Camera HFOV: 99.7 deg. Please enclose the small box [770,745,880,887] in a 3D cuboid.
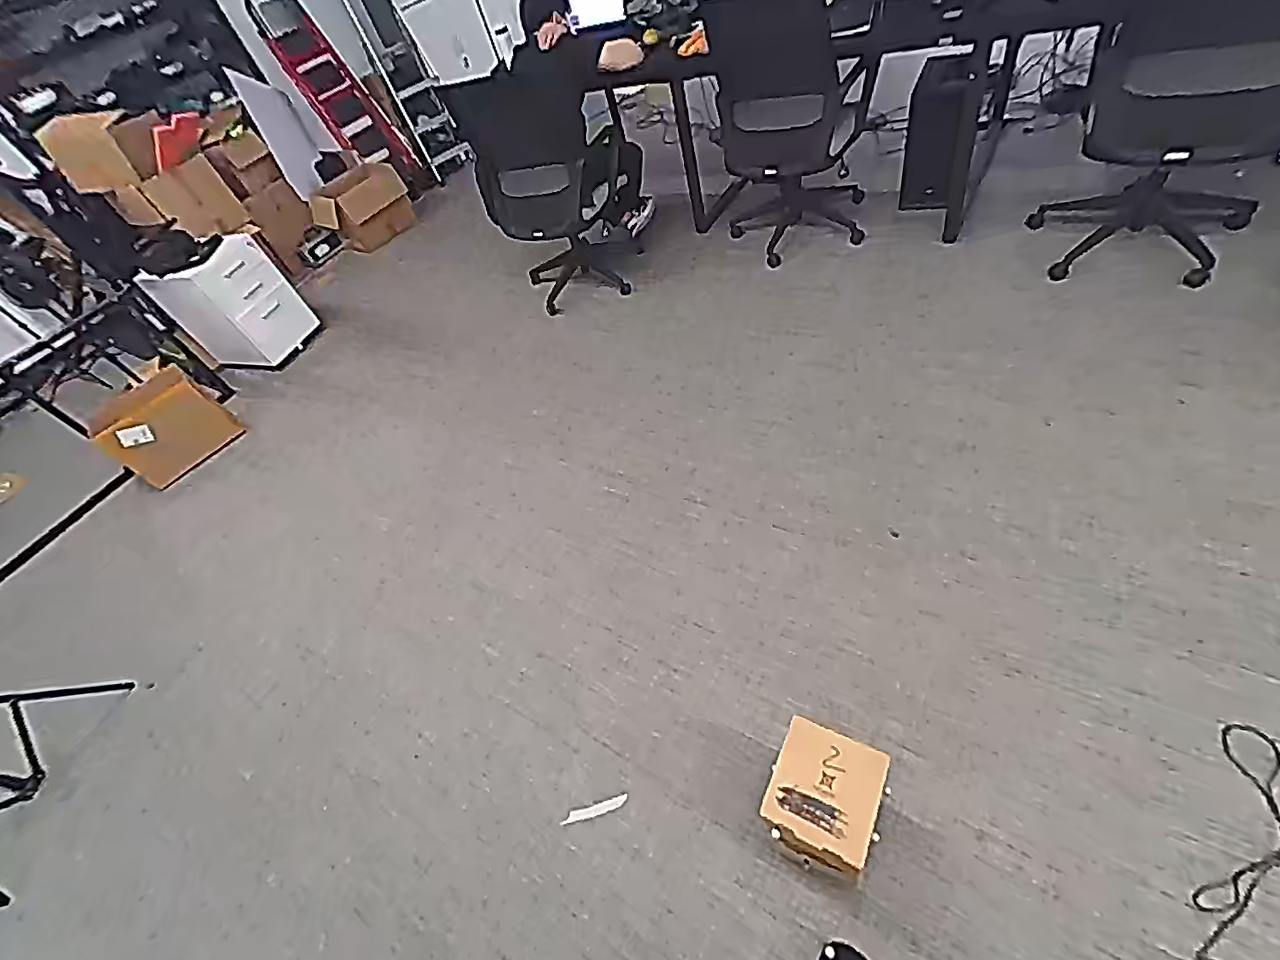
[{"bbox_3d":[0.361,0.657,1.057,0.168,0.176,0.179,10,56,26],"label":"small box"}]
